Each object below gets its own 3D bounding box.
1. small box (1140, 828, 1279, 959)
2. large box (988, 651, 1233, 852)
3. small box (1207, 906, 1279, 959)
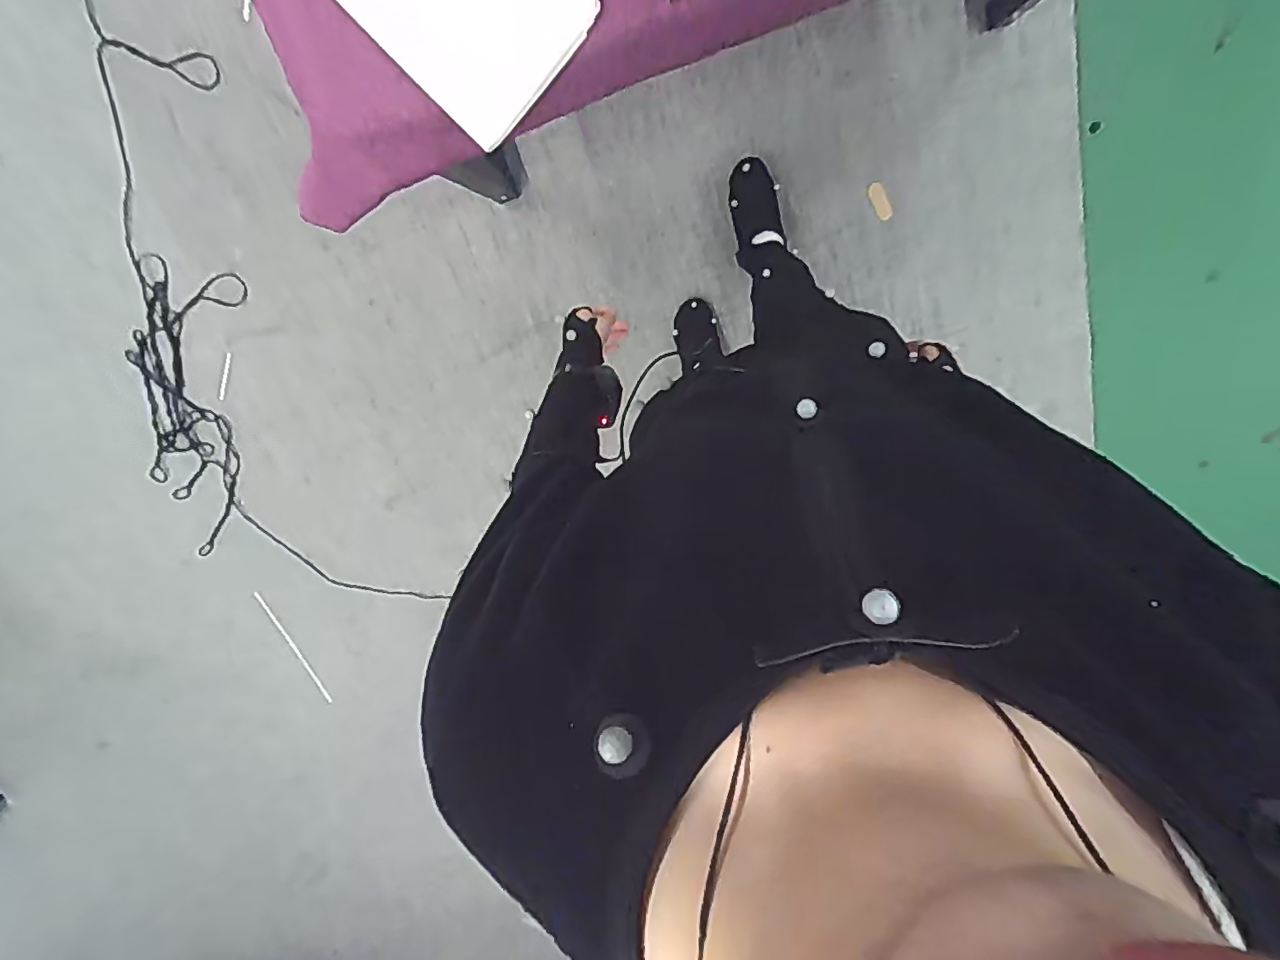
[{"bbox_3d":[1.289,0.937,1.218,0.179,0.176,0.168,-31,105,13],"label":"small box"},{"bbox_3d":[1.353,0.787,1.595,0.408,0.320,0.320,-31,106,11],"label":"large box"},{"bbox_3d":[1.285,0.992,1.063,0.179,0.176,0.168,-30,105,14],"label":"small box"}]
